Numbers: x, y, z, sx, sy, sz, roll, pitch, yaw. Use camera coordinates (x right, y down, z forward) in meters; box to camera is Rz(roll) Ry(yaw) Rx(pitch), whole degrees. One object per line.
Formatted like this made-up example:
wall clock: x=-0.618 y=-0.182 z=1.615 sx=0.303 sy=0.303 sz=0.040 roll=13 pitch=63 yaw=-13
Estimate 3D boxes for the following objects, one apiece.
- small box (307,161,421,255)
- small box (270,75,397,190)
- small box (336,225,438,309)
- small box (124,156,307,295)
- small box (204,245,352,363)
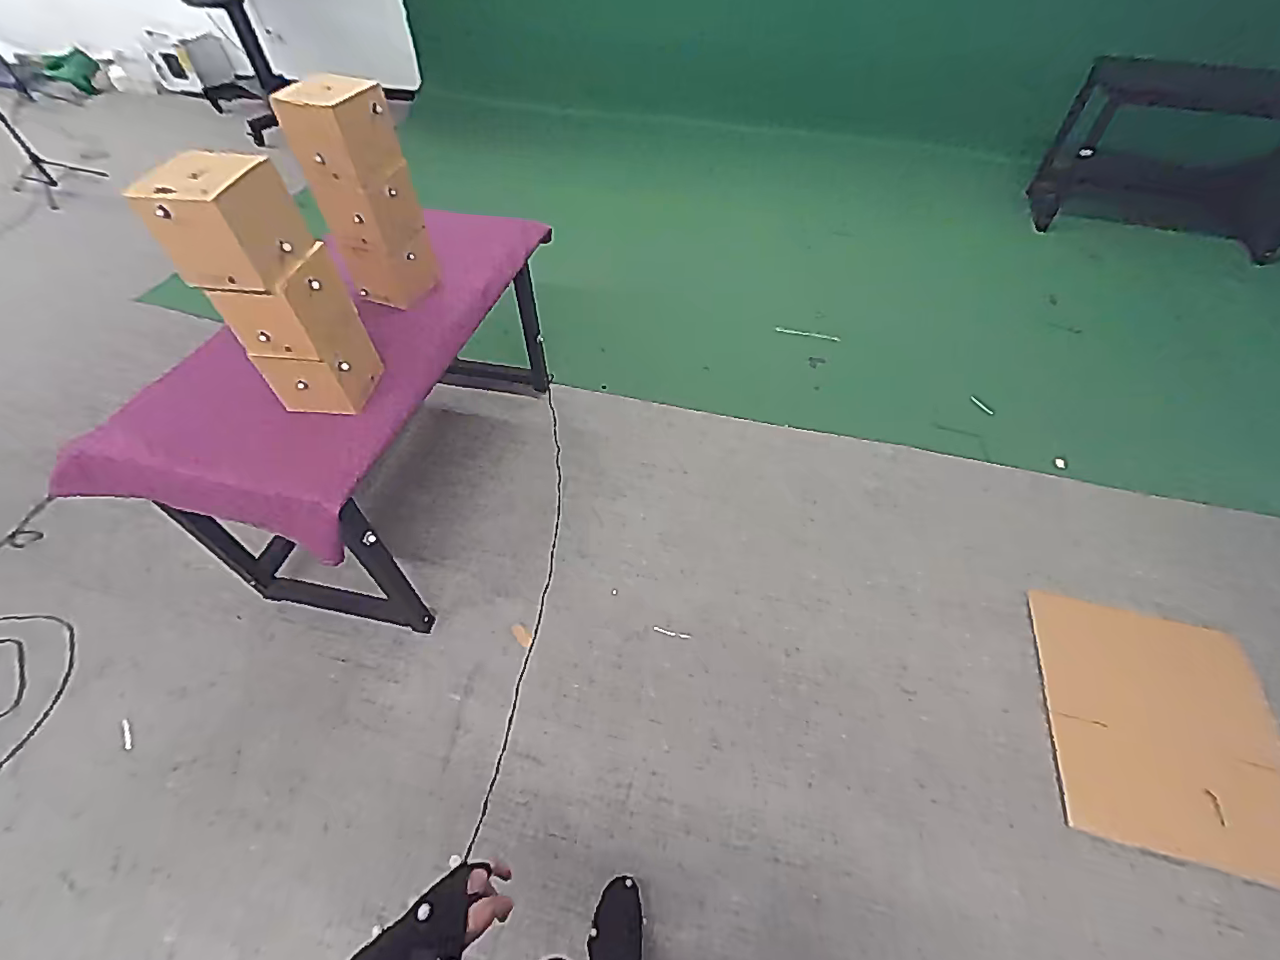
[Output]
small box: x=-0.692 y=-0.704 z=1.385 sx=0.168 sy=0.176 sz=0.179 roll=17 pitch=53 yaw=11
small box: x=-0.695 y=-0.806 z=1.256 sx=0.168 sy=0.176 sz=0.179 roll=16 pitch=54 yaw=11
small box: x=-0.696 y=-0.605 z=1.514 sx=0.168 sy=0.176 sz=0.179 roll=17 pitch=53 yaw=12
small box: x=-0.749 y=-0.463 z=0.984 sx=0.168 sy=0.176 sz=0.179 roll=5 pitch=52 yaw=6
small box: x=-0.730 y=-0.367 z=1.117 sx=0.168 sy=0.176 sz=0.179 roll=5 pitch=53 yaw=5
